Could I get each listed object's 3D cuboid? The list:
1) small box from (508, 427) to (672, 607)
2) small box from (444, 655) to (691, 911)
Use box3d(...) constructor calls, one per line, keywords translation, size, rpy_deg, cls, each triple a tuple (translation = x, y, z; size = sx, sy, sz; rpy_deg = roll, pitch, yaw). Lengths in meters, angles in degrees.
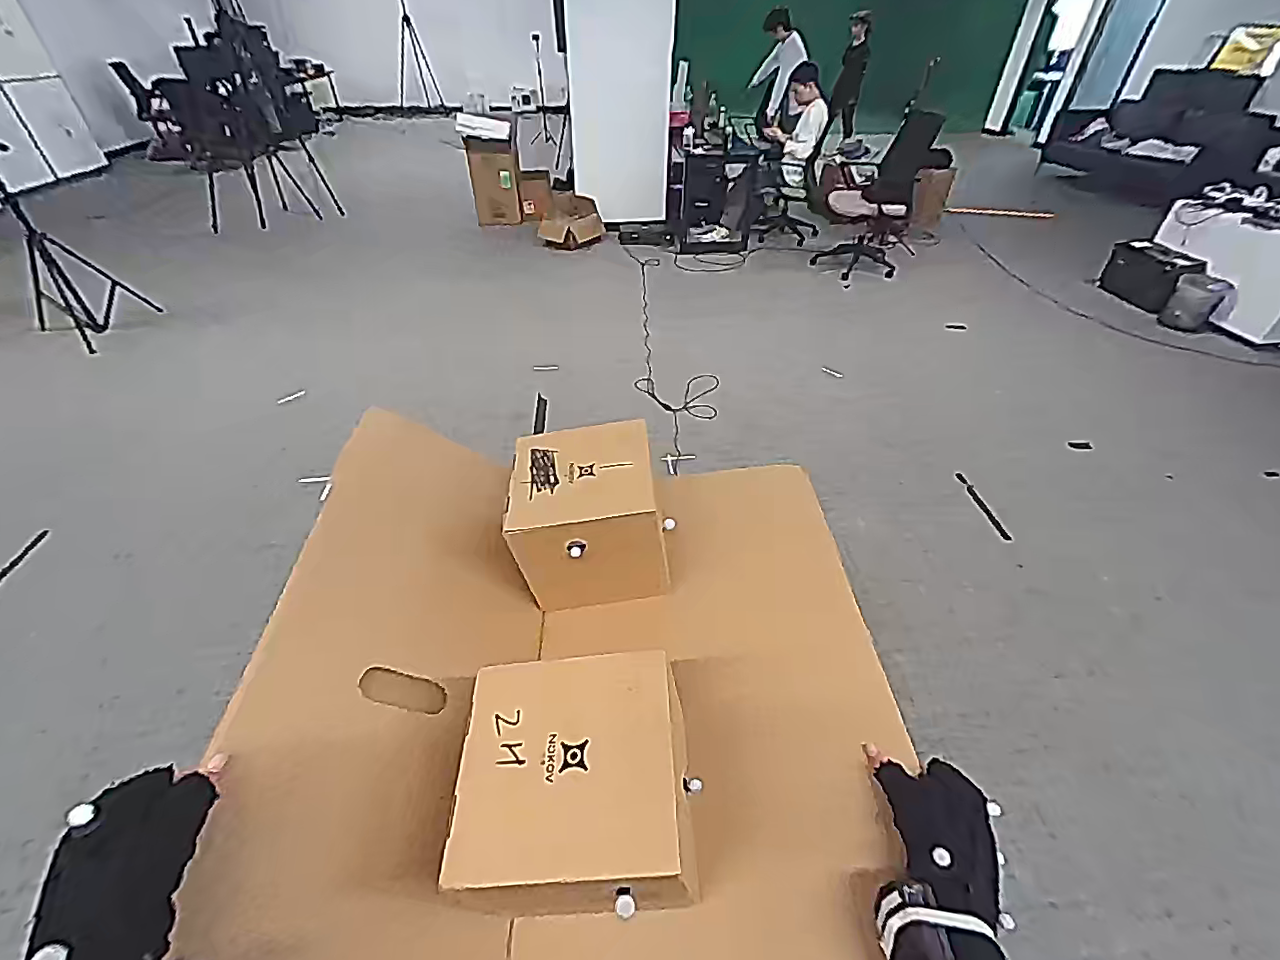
box3d(translation=(-0.058, 0.054, 0.723), size=(0.179, 0.176, 0.168), rpy_deg=(-8, 45, 3), cls="small box")
box3d(translation=(-0.046, 0.280, 0.496), size=(0.179, 0.176, 0.168), rpy_deg=(-7, 45, 6), cls="small box")
